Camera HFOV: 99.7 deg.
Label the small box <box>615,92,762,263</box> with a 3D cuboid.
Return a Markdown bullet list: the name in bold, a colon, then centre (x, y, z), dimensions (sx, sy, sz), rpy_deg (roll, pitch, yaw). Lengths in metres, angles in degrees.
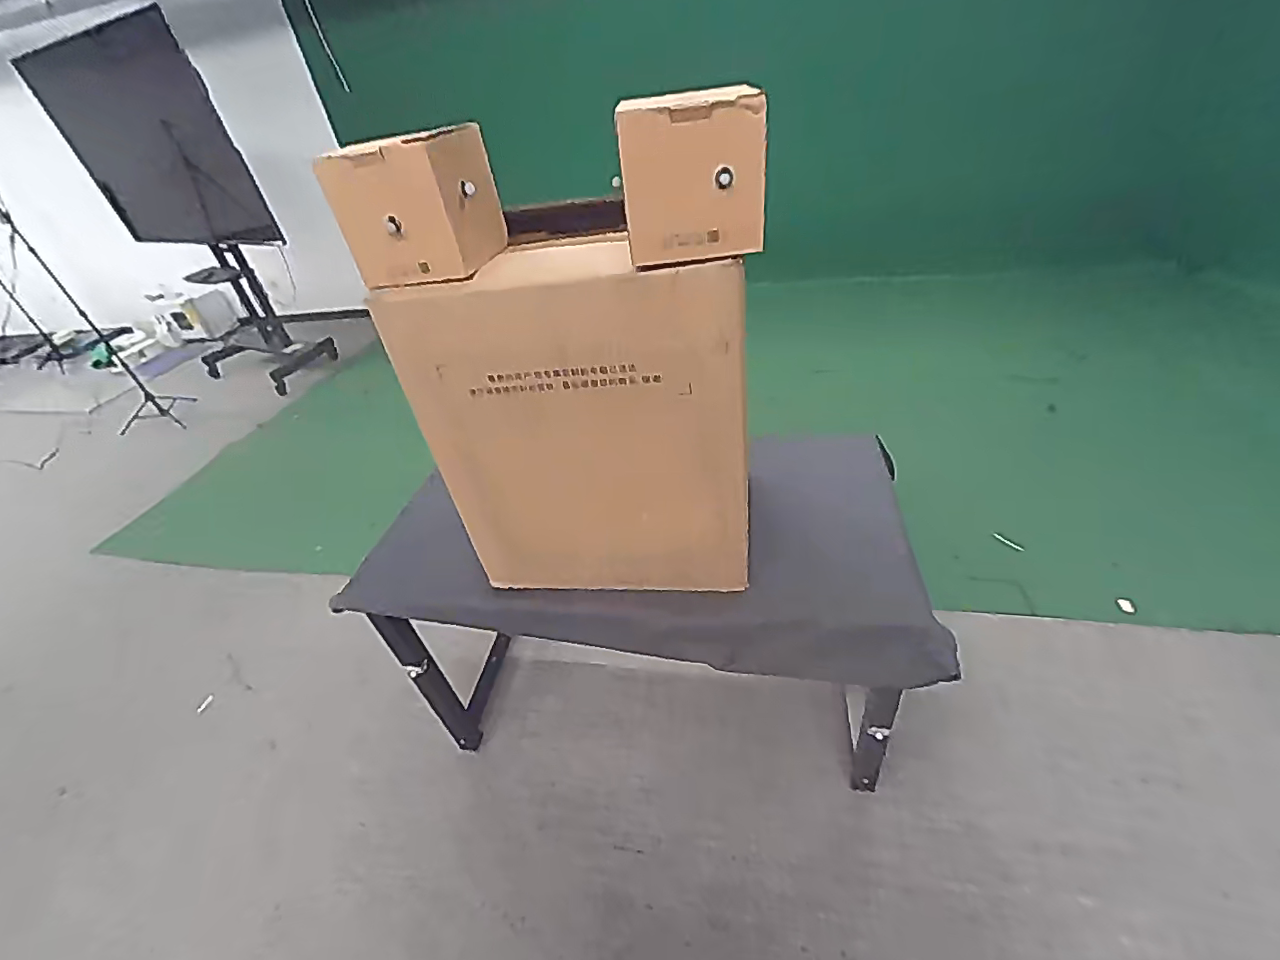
- **small box**: centre (0.063, -0.388, 0.702), dimensions (0.168, 0.176, 0.179), rpy_deg (-4, 37, 3)

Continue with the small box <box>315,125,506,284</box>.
- **small box**: centre (-0.313, -0.393, 0.785), dimensions (0.168, 0.176, 0.179), rpy_deg (-1, 39, 12)
